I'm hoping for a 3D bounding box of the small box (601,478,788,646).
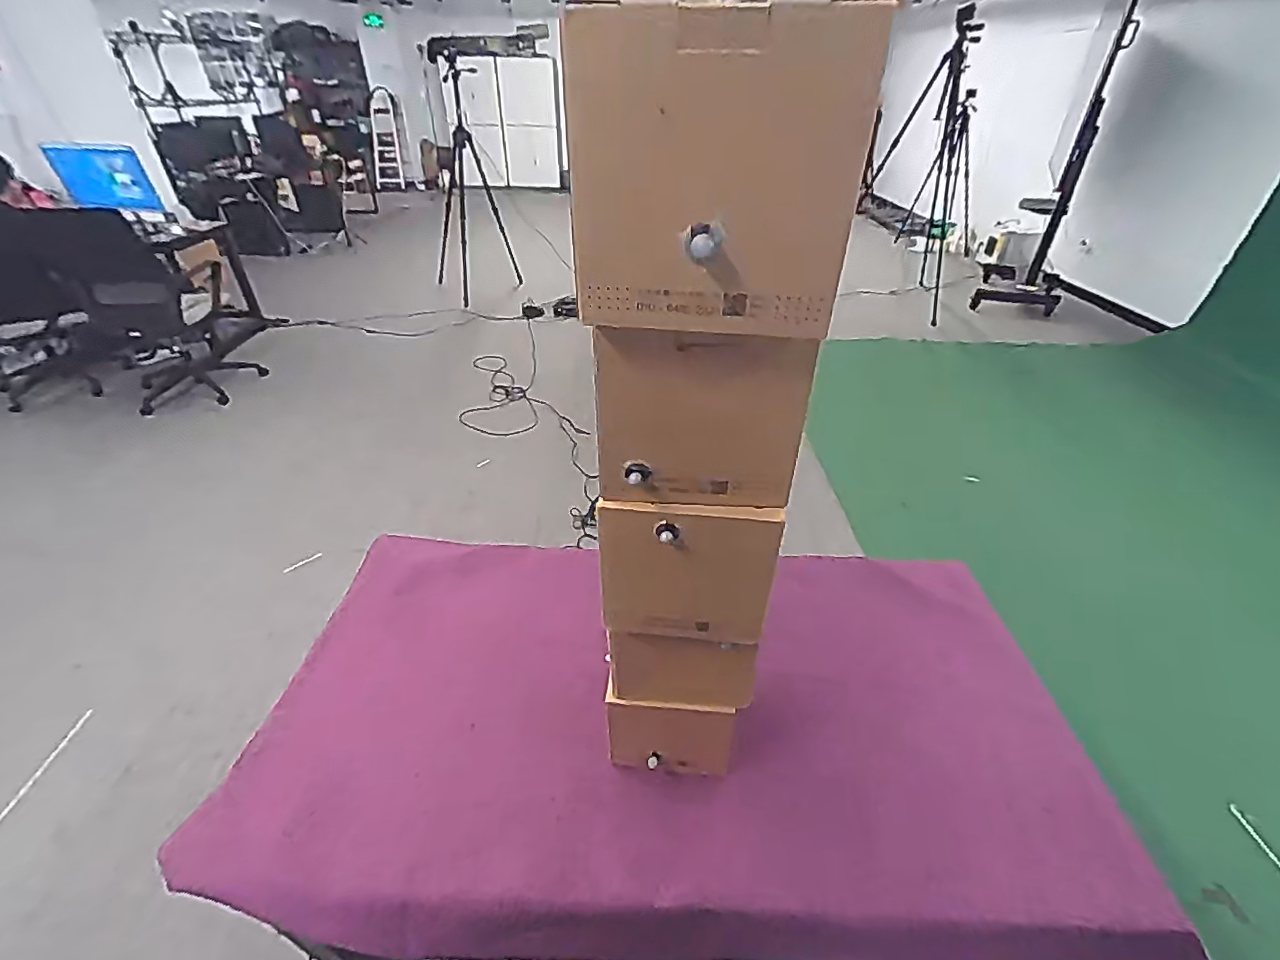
[{"bbox_3d":[0.055,0.047,0.577,0.168,0.176,0.179,4,35,6],"label":"small box"}]

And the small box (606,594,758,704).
[{"bbox_3d":[0.056,0.165,0.692,0.179,0.176,0.168,3,36,4],"label":"small box"}]

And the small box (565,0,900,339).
[{"bbox_3d":[0.054,-0.212,0.373,0.168,0.176,0.179,5,37,7],"label":"small box"}]

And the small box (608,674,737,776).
[{"bbox_3d":[0.048,0.296,0.786,0.168,0.176,0.179,3,37,5],"label":"small box"}]

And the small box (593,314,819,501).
[{"bbox_3d":[0.054,-0.095,0.491,0.168,0.176,0.179,2,35,2],"label":"small box"}]
